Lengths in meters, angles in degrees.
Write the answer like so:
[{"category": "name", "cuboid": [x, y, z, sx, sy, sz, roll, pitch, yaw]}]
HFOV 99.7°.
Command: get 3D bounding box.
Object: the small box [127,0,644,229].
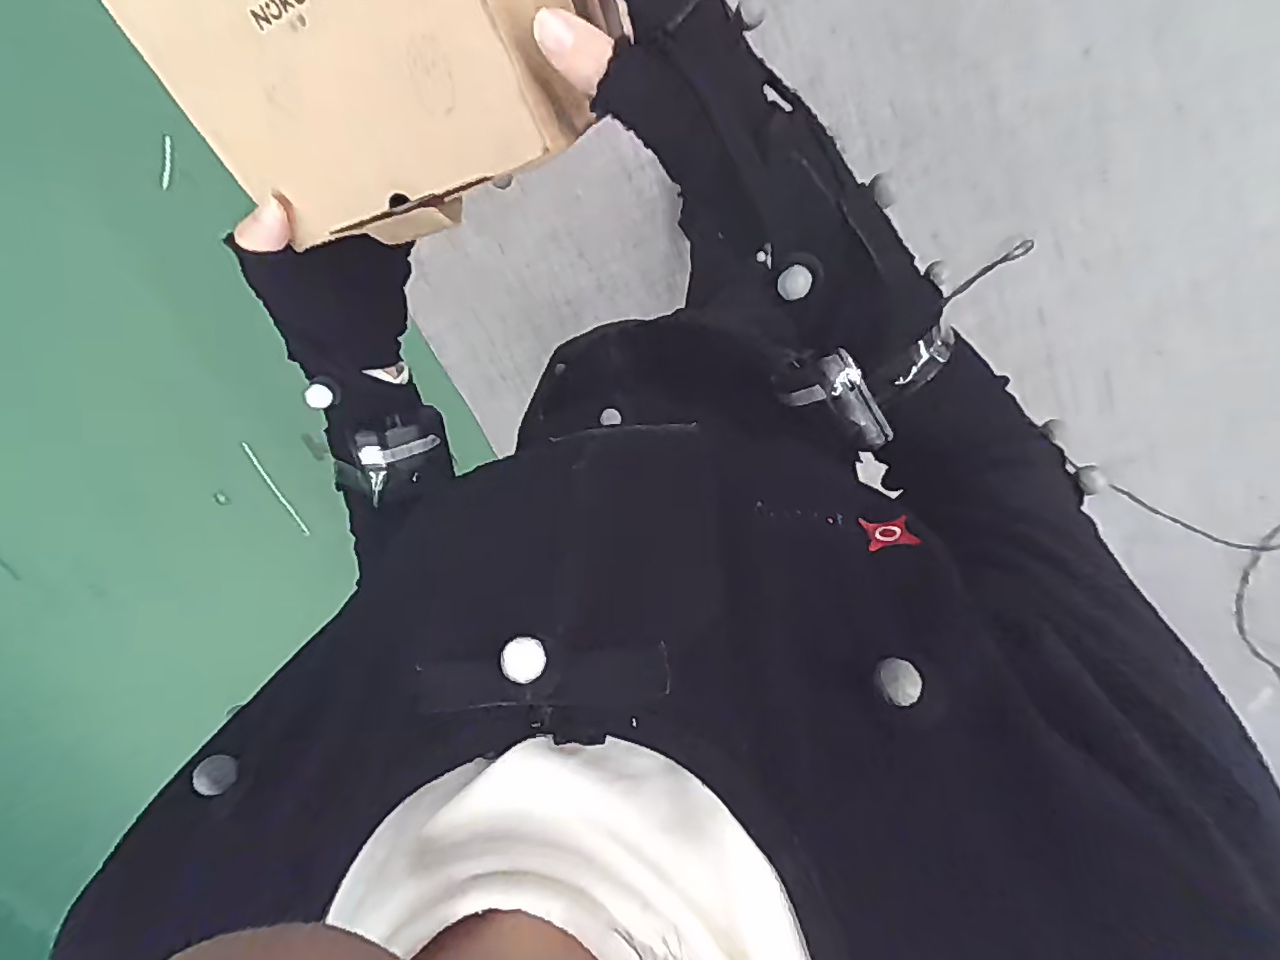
[{"category": "small box", "cuboid": [-0.113, -0.253, 0.250, 0.168, 0.176, 0.179, -4, 134, 24]}]
